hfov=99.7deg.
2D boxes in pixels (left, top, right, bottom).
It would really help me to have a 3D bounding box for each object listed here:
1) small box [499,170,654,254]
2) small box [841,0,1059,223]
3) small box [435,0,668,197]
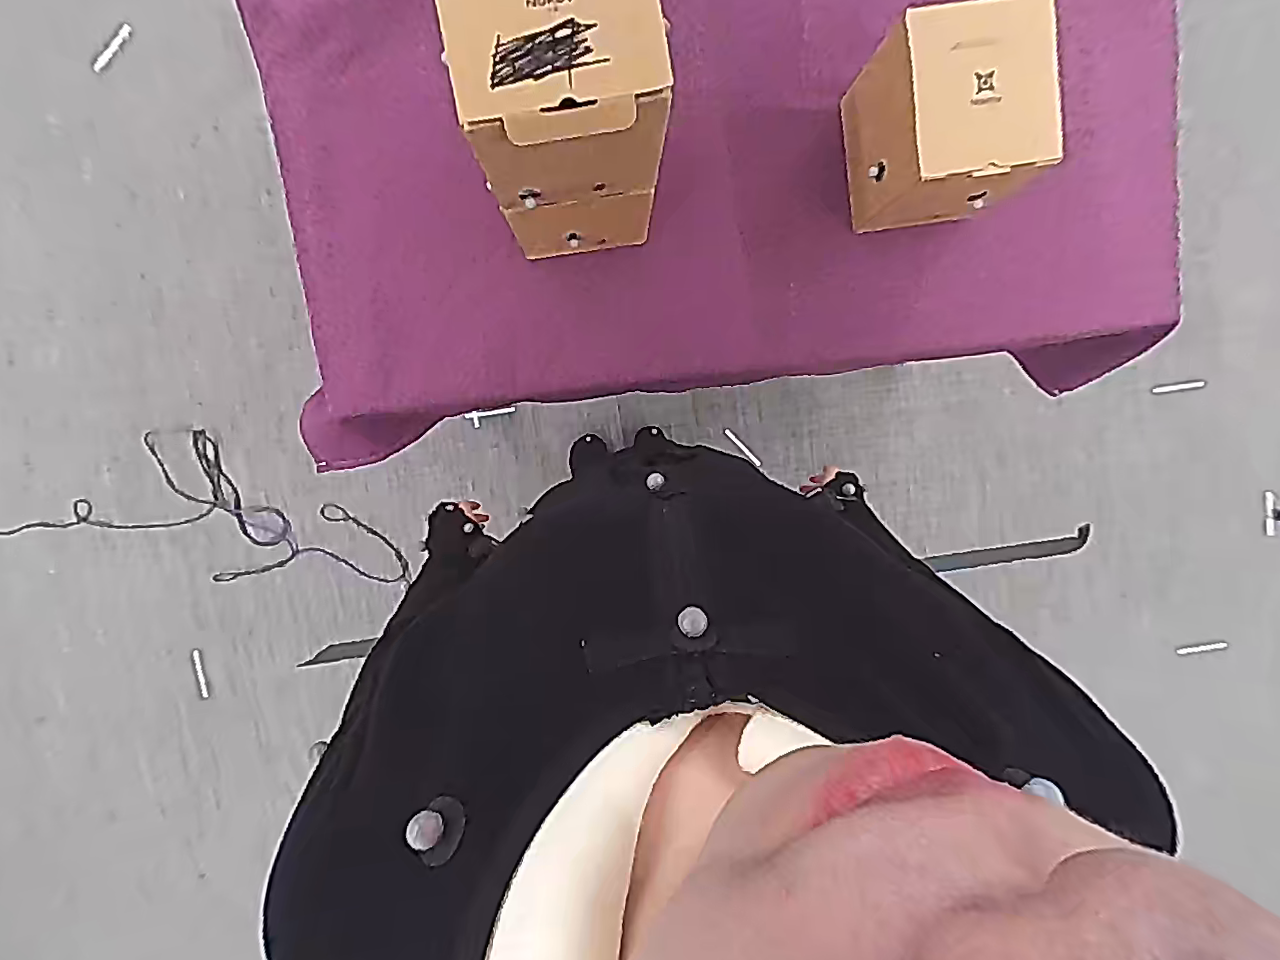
[{"bbox_3d":[-0.083,-0.392,0.643,0.168,0.176,0.179,-9,97,-2],"label":"small box"},{"bbox_3d":[0.364,-0.432,0.661,0.168,0.176,0.179,-8,96,-2],"label":"small box"},{"bbox_3d":[-0.075,-0.375,0.480,0.168,0.176,0.179,-11,97,-2],"label":"small box"}]
